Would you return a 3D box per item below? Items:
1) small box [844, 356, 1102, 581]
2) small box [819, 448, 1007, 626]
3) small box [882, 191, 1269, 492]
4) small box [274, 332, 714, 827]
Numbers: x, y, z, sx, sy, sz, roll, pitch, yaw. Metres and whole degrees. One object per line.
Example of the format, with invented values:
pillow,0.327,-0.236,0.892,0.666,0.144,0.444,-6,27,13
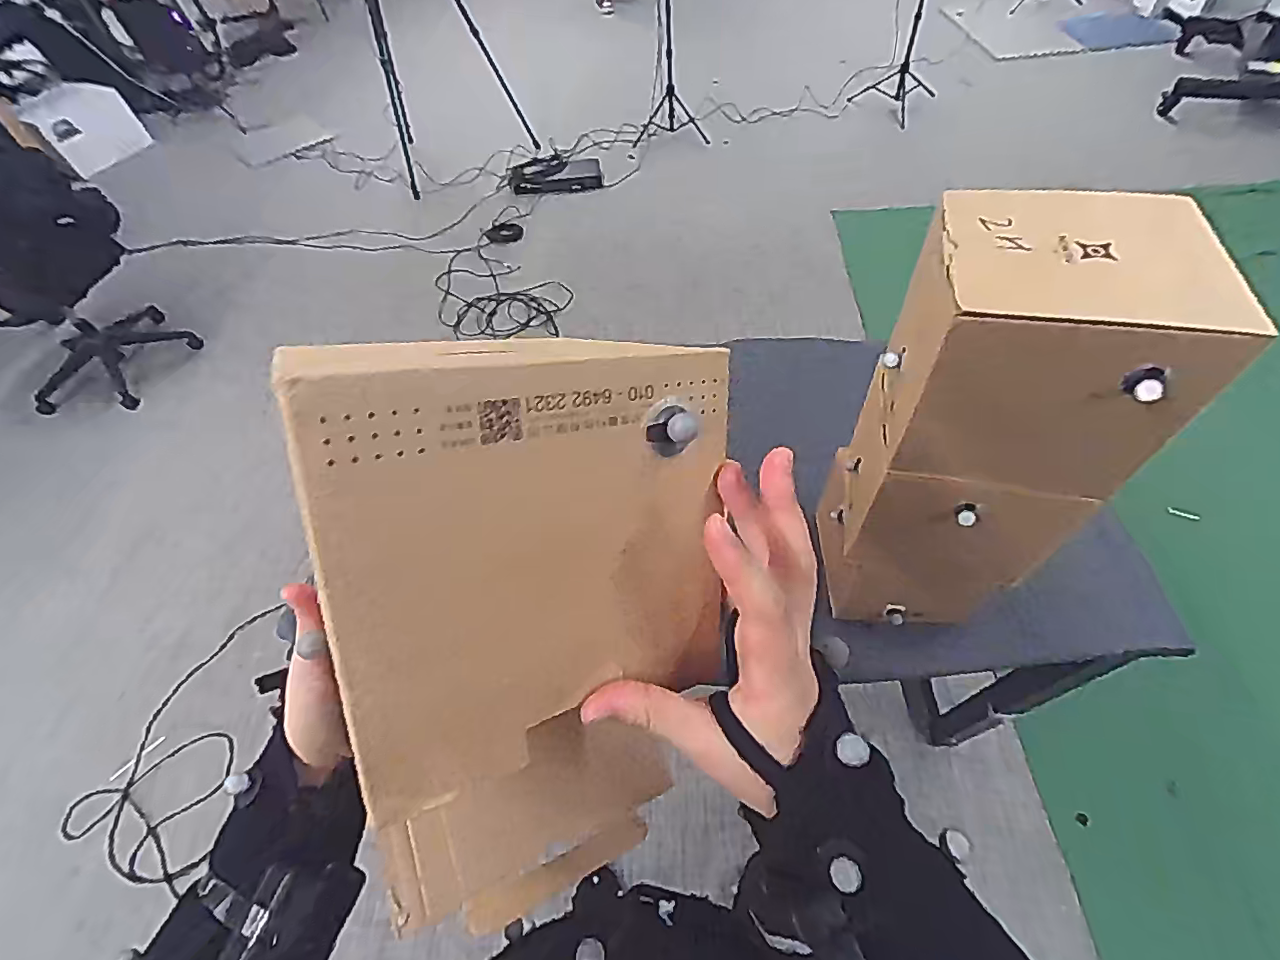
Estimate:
small box,0.326,-0.009,0.573,0.179,0.176,0.168,7,55,13
small box,0.341,0.075,0.711,0.168,0.176,0.179,-1,54,6
small box,0.314,-0.108,0.442,0.179,0.176,0.168,8,54,14
small box,-0.078,0.016,0.283,0.168,0.176,0.179,-11,21,-30
